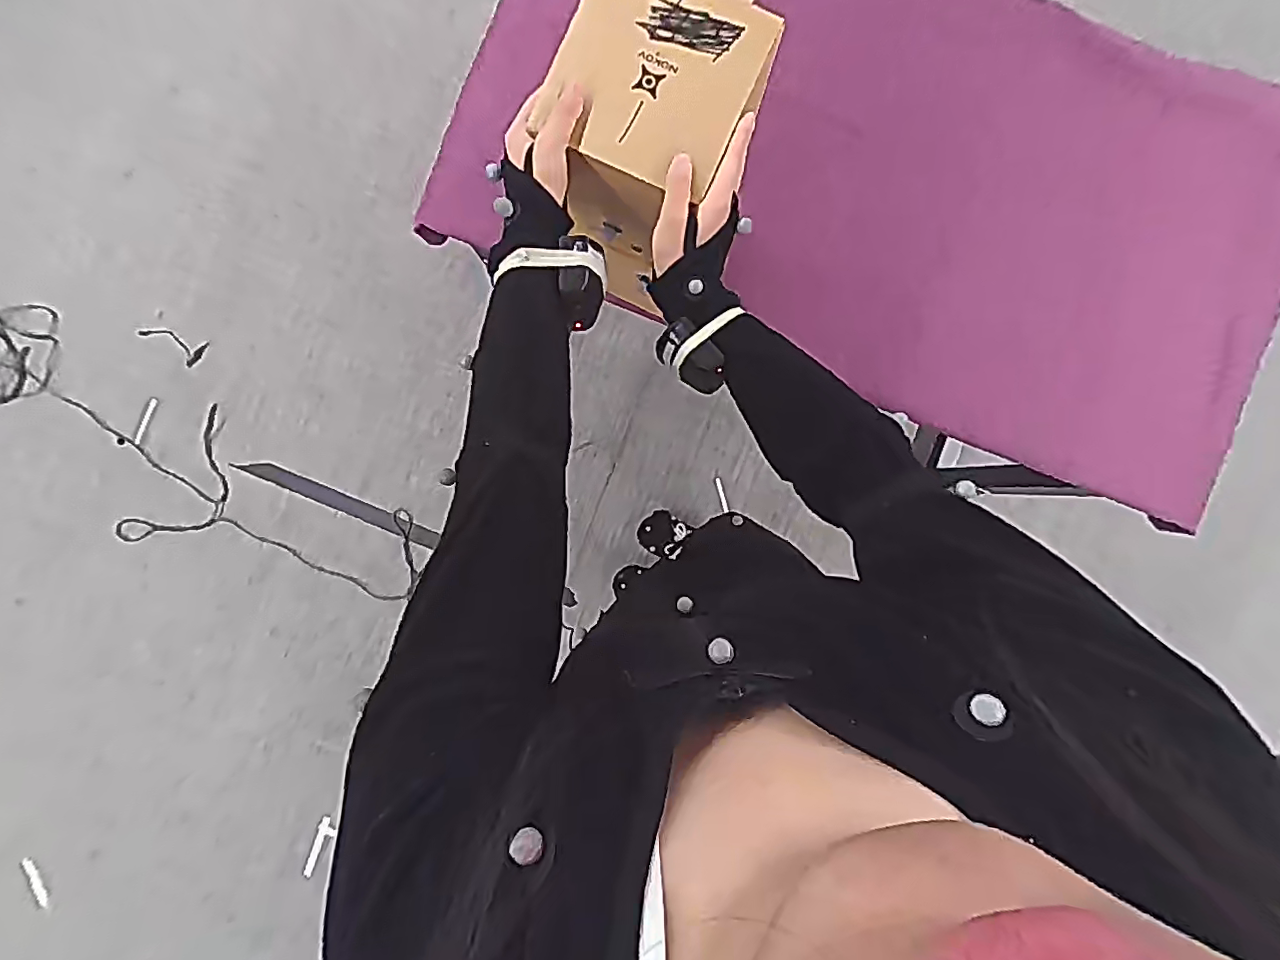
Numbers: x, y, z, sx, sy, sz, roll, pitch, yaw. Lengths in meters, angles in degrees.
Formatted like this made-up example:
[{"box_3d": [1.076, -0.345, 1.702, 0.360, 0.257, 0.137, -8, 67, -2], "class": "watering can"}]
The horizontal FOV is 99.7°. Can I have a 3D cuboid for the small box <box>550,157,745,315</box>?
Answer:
[{"box_3d": [0.009, -0.334, 0.696, 0.179, 0.176, 0.168, 26, 90, 0], "class": "small box"}]

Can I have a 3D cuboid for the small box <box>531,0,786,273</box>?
[{"box_3d": [0.015, -0.341, 0.532, 0.168, 0.176, 0.179, 25, 91, 0], "class": "small box"}]
